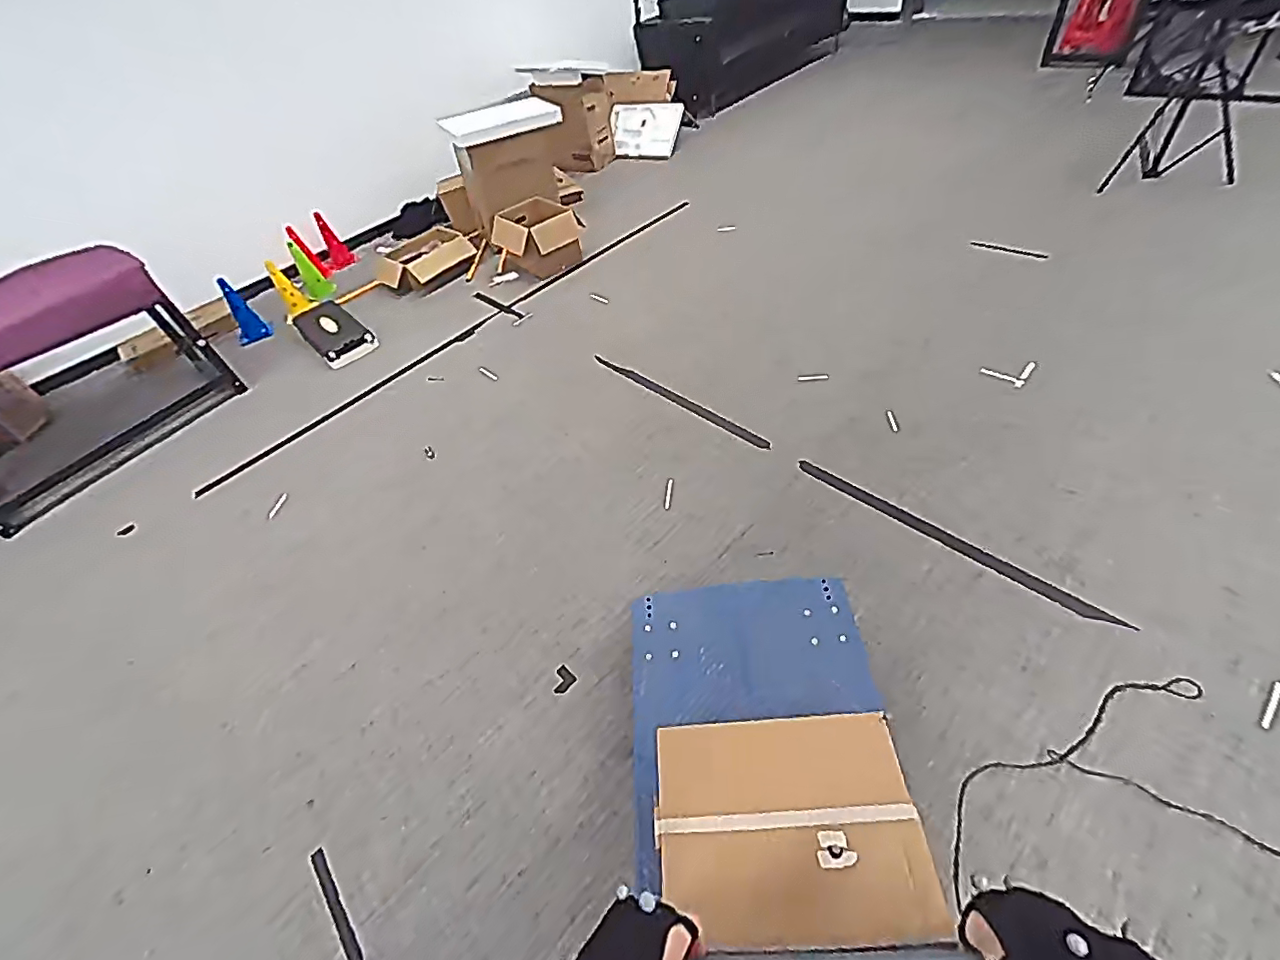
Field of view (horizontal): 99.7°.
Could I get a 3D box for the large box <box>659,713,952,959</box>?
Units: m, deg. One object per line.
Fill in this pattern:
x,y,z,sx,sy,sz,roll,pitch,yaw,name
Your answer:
0.255,0.649,0.973,0.408,0.320,0.320,-6,46,5,large box
